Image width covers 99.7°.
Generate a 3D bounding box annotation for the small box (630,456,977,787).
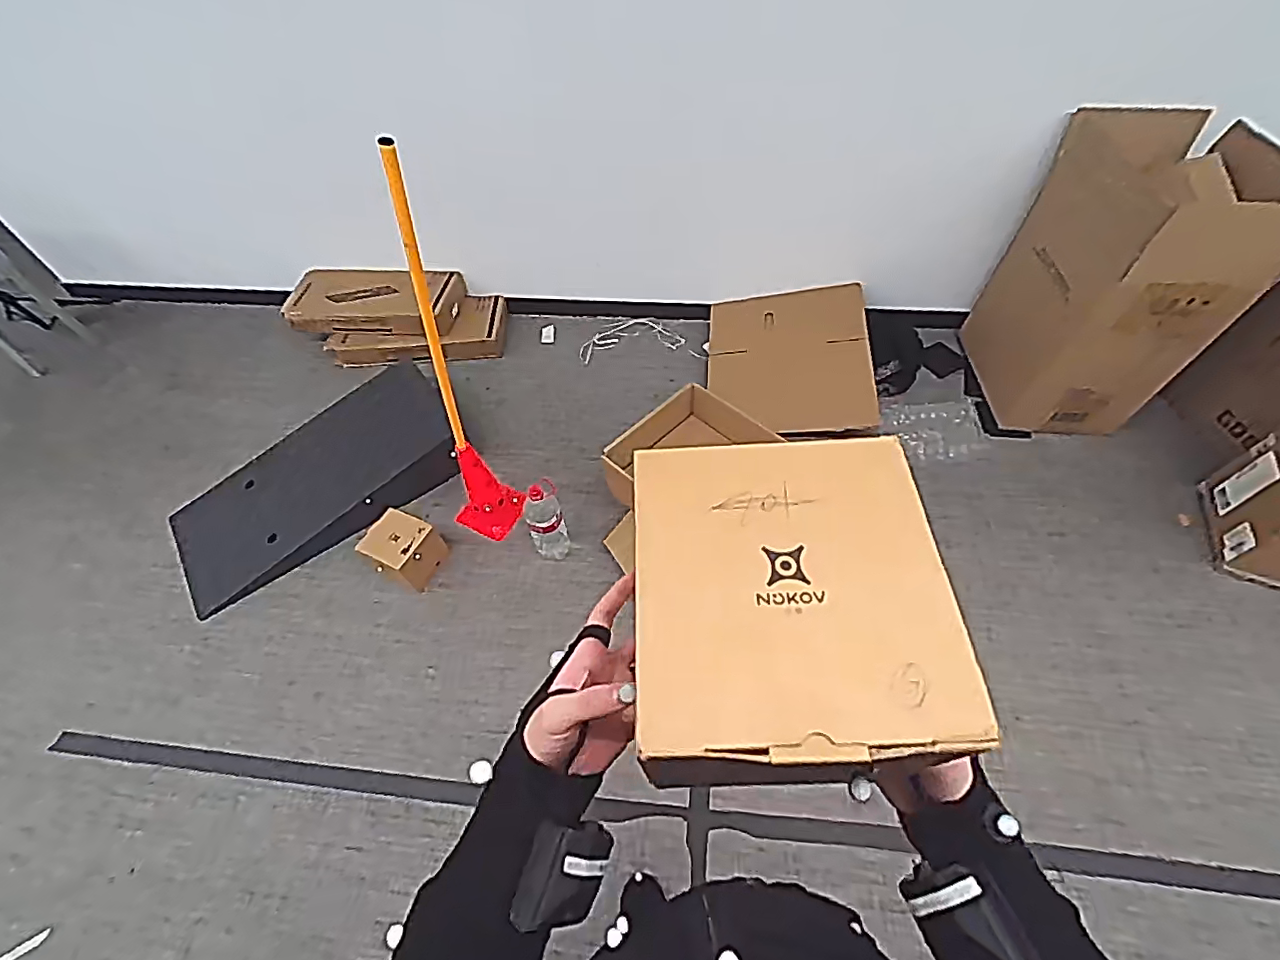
[{"bbox_3d":[0.082,0.104,0.367,0.168,0.176,0.179,-2,55,2],"label":"small box"}]
